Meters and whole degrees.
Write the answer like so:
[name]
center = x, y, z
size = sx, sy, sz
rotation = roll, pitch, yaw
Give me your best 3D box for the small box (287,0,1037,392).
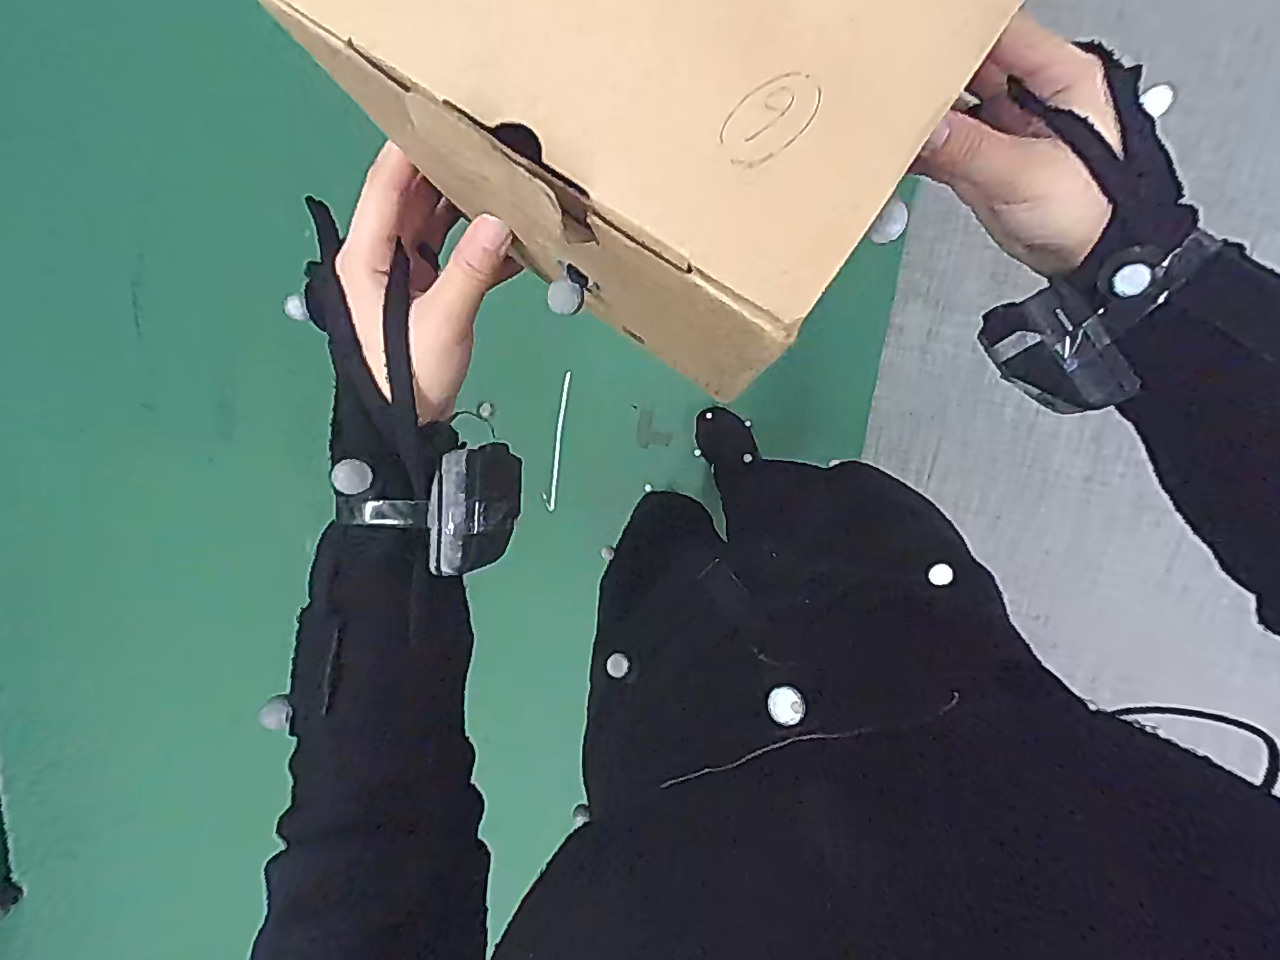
[small box]
center = 0.026, -0.151, 0.212
size = 0.168, 0.176, 0.179
rotation = 35, 96, 2
